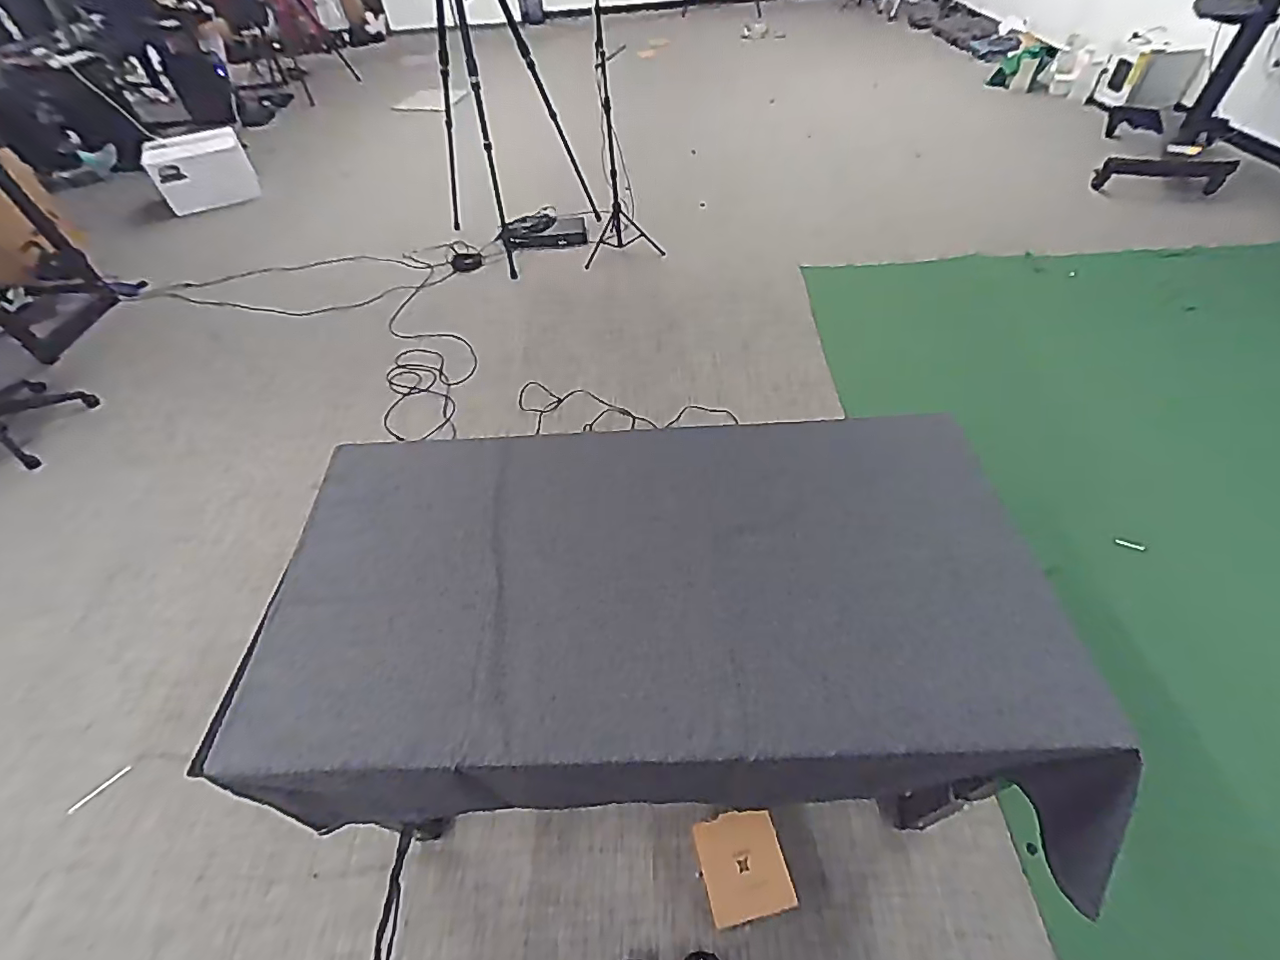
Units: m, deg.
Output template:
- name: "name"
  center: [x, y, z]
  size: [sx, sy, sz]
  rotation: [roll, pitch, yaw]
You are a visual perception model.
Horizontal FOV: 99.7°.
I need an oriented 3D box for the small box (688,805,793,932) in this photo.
- name: "small box"
  center: [0.199, 0.811, 1.129]
  size: [0.168, 0.176, 0.179]
  rotation: [-12, 49, -6]
